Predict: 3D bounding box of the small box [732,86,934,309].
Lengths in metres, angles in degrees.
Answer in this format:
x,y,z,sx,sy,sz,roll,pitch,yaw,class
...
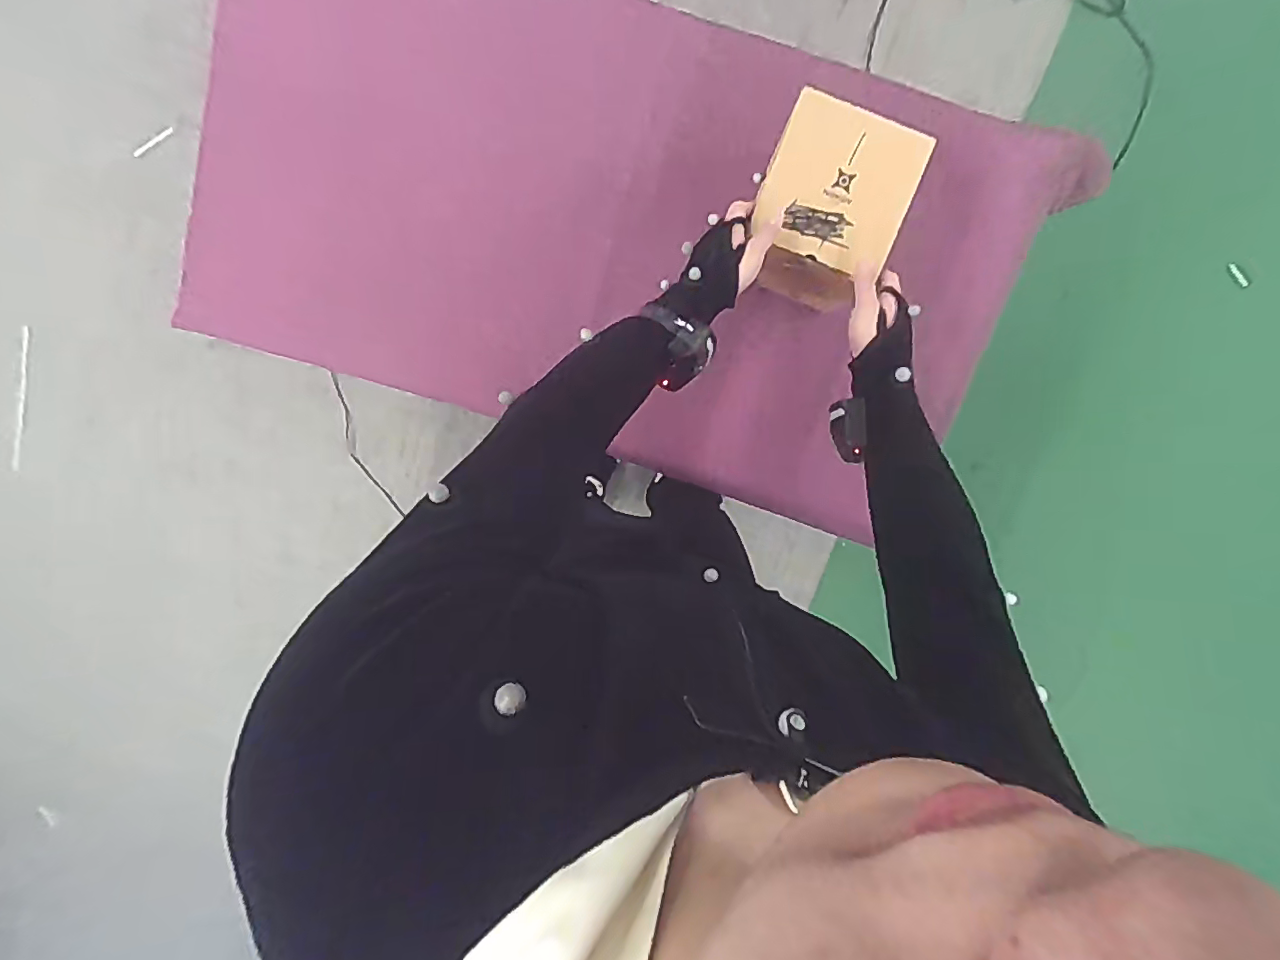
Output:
x,y,z,sx,sy,sz,roll,pitch,yaw,class
0.228,-0.341,0.694,0.168,0.176,0.179,22,95,-1,small box

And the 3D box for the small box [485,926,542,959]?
x,y,z,sx,sy,sz,roll,pitch,yaw,class
-0.460,1.728,1.900,0.179,0.176,0.168,22,102,-2,small box
